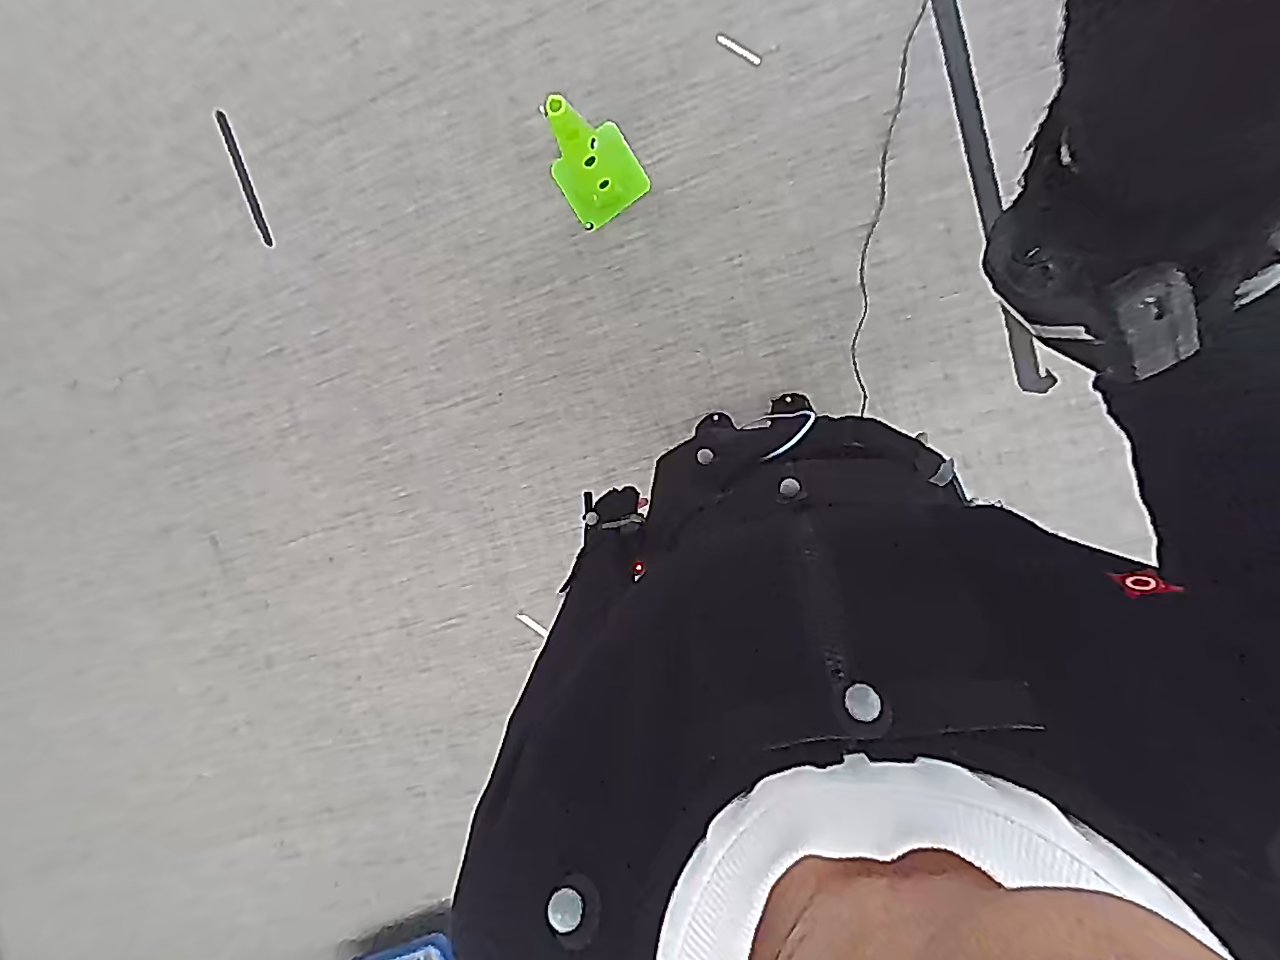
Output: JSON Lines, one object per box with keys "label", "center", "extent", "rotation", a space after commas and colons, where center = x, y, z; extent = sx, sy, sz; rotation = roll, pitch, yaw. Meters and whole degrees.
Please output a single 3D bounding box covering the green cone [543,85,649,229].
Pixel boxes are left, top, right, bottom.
{"label": "green cone", "center": [-0.131, -0.751, 1.204], "extent": [0.200, 0.368, 0.202], "rotation": [-32, 90, 12]}
